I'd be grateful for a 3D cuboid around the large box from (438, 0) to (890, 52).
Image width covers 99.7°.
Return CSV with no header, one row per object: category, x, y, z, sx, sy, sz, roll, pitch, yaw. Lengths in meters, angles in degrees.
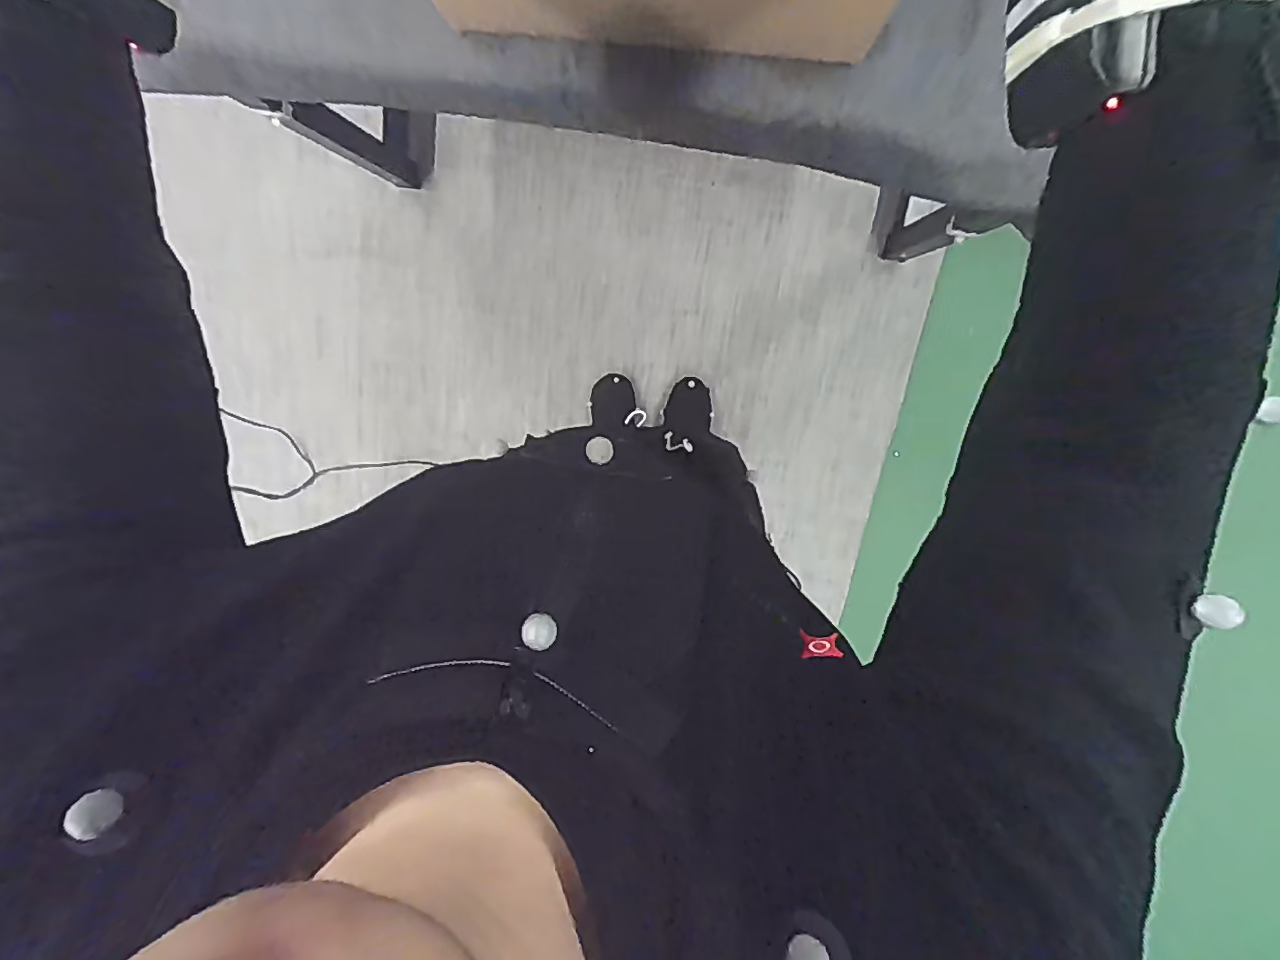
large box,0.017,-0.538,0.347,0.408,0.320,0.320,6,104,2
